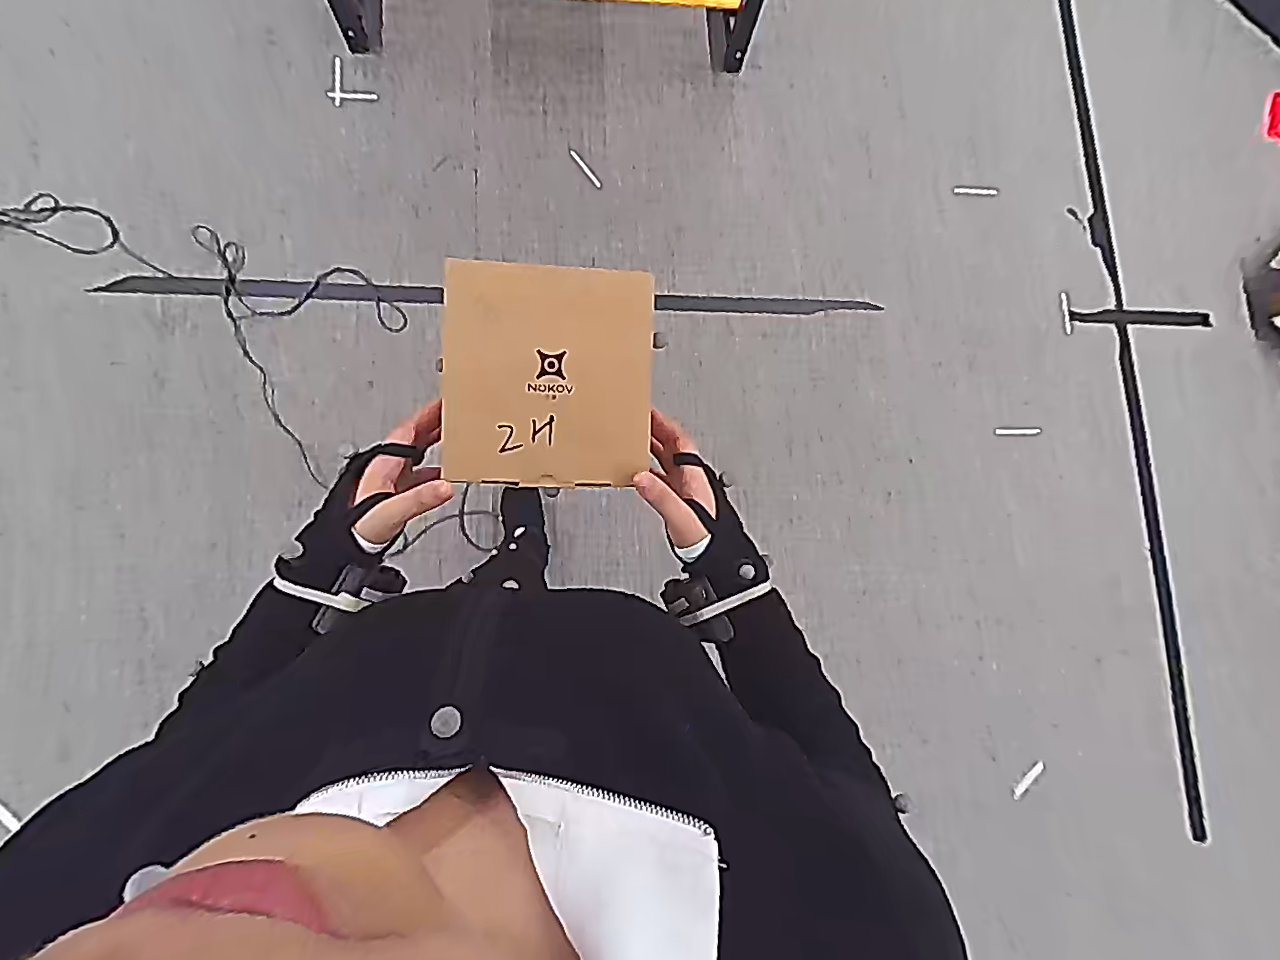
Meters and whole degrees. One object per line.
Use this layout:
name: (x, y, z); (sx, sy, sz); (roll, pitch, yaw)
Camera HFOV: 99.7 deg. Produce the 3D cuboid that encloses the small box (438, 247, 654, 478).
small box: (-0.082, -0.092, 0.508); (0.168, 0.176, 0.179); (2, 91, -6)
